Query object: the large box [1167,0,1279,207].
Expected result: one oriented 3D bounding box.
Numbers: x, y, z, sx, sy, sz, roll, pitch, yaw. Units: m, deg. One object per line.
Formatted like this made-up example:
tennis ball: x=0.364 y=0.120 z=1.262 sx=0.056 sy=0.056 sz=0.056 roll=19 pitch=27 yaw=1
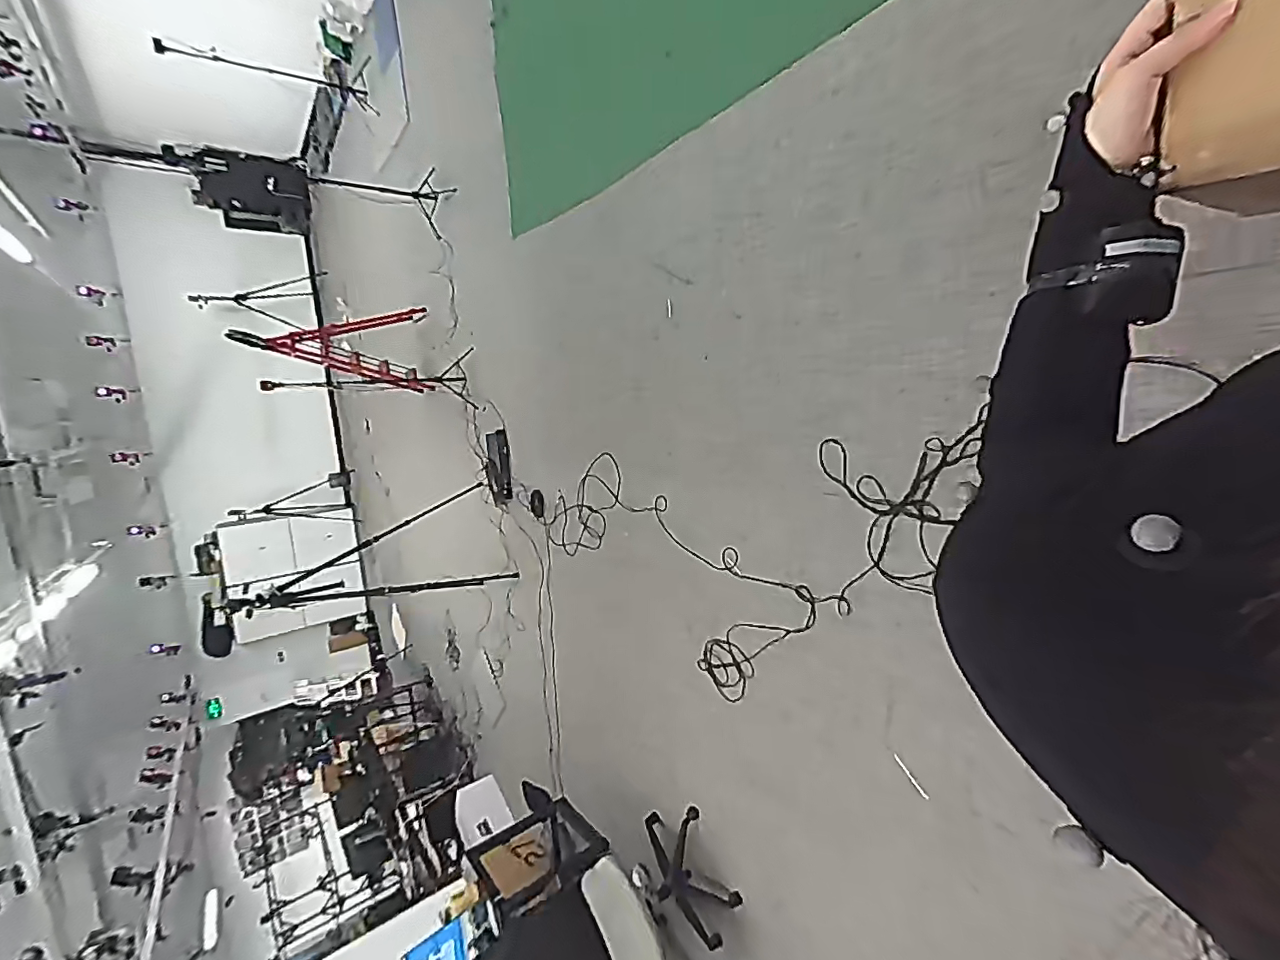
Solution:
large box: x=0.612 y=-0.370 z=0.287 sx=0.408 sy=0.320 sz=0.320 roll=13 pitch=113 yaw=56
